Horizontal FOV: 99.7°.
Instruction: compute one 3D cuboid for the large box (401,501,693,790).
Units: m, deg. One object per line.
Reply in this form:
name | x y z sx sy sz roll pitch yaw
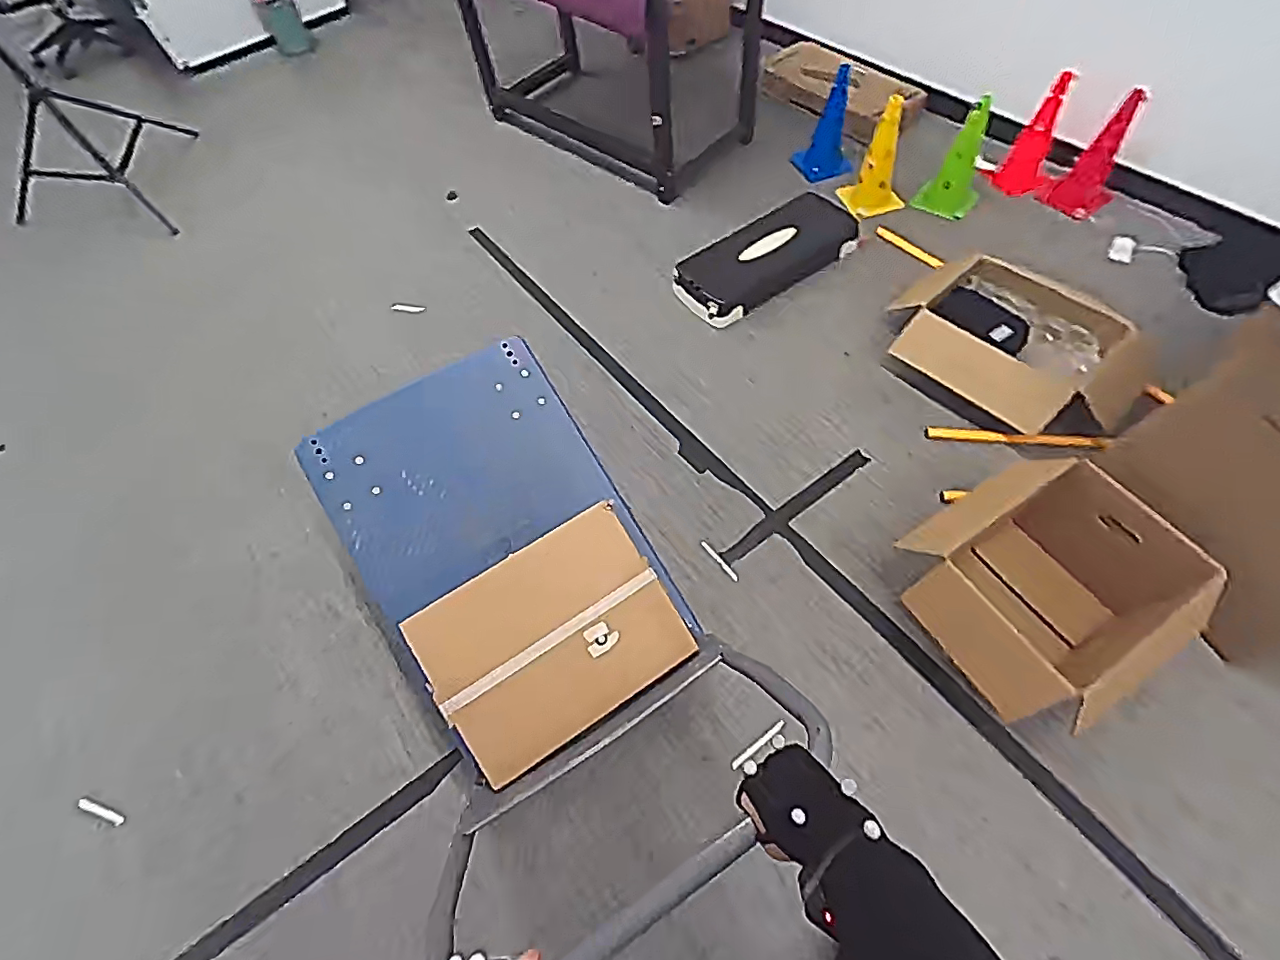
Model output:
large box | -0.172 0.295 1.057 0.408 0.320 0.320 -32 87 -13
